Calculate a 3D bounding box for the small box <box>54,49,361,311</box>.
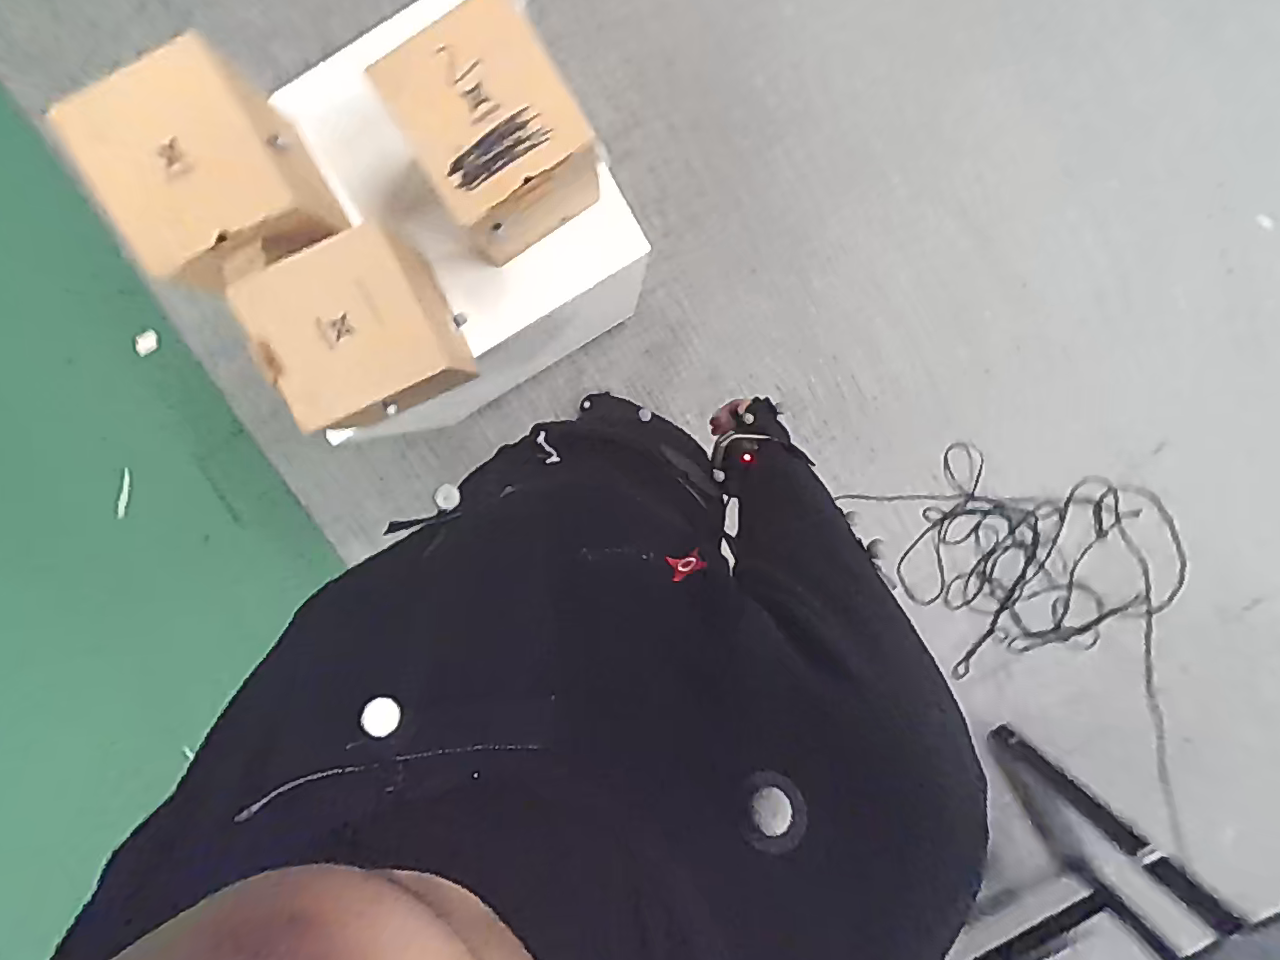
[{"bbox_3d":[-0.462,-0.317,0.614,0.168,0.176,0.179,-29,100,0],"label":"small box"}]
